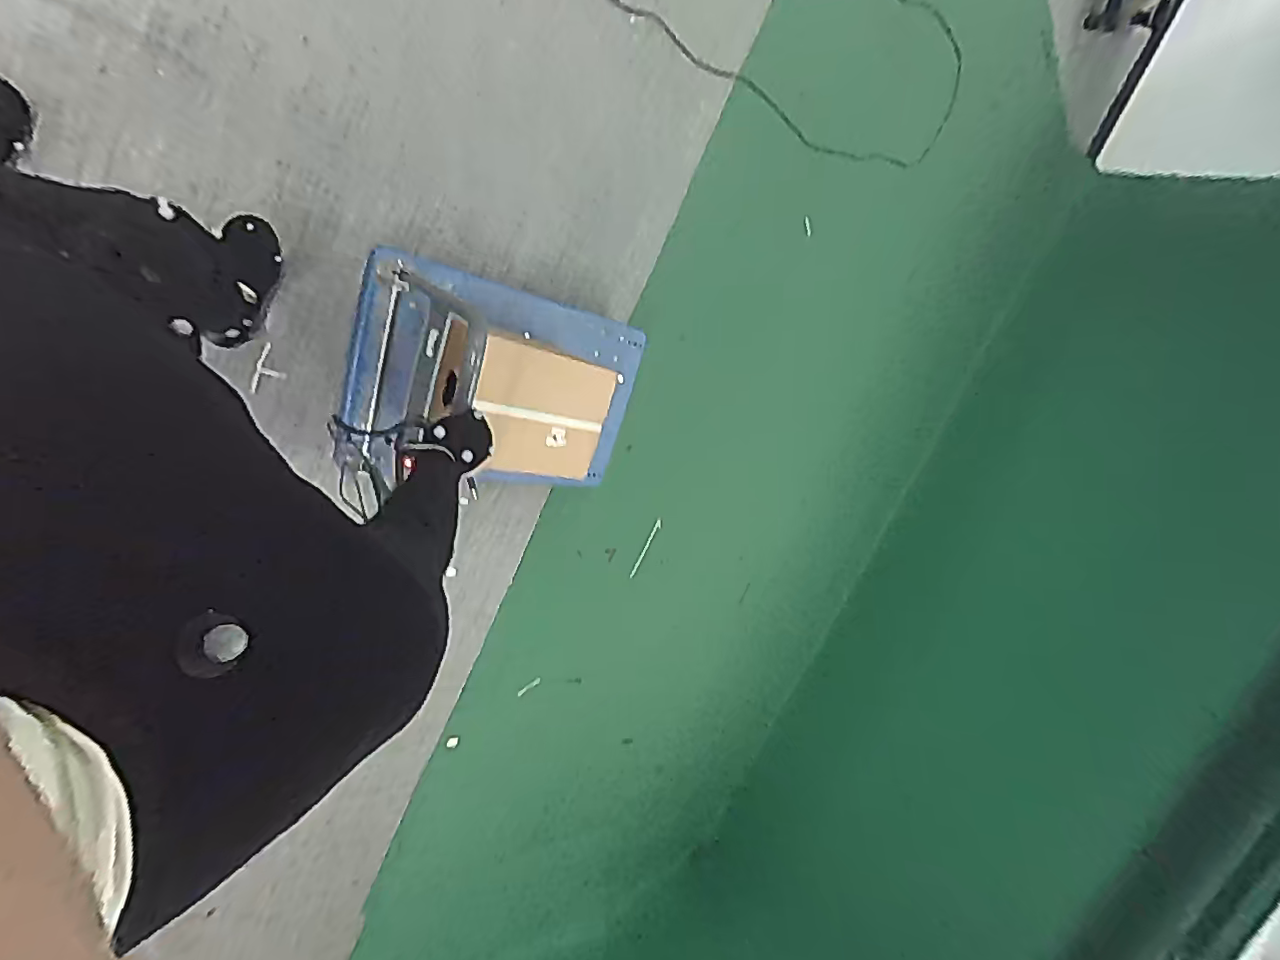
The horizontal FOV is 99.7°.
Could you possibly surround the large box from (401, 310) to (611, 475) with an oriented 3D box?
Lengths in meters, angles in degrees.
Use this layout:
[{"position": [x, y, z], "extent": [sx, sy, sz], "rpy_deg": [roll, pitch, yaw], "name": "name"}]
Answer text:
[{"position": [-0.358, -0.225, 1.432], "extent": [0.408, 0.320, 0.320], "rpy_deg": [6, 110, -45], "name": "large box"}]
